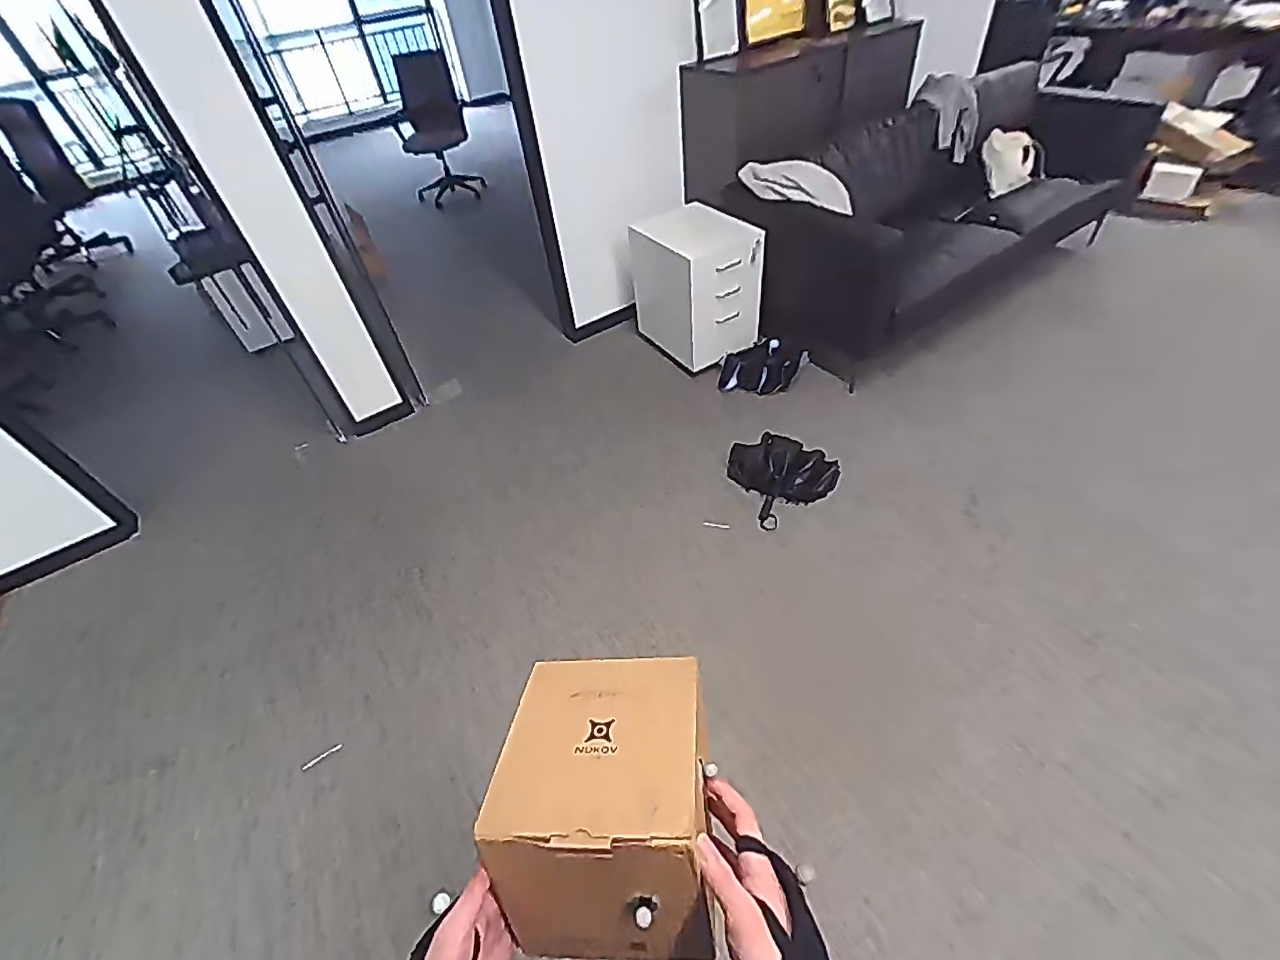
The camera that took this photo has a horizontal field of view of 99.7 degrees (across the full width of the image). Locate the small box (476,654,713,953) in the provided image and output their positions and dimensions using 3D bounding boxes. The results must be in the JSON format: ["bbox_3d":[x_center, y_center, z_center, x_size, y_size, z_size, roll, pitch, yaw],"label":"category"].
[{"bbox_3d":[-0.023,0.286,0.492,0.168,0.176,0.179,-4,25,8],"label":"small box"}]
